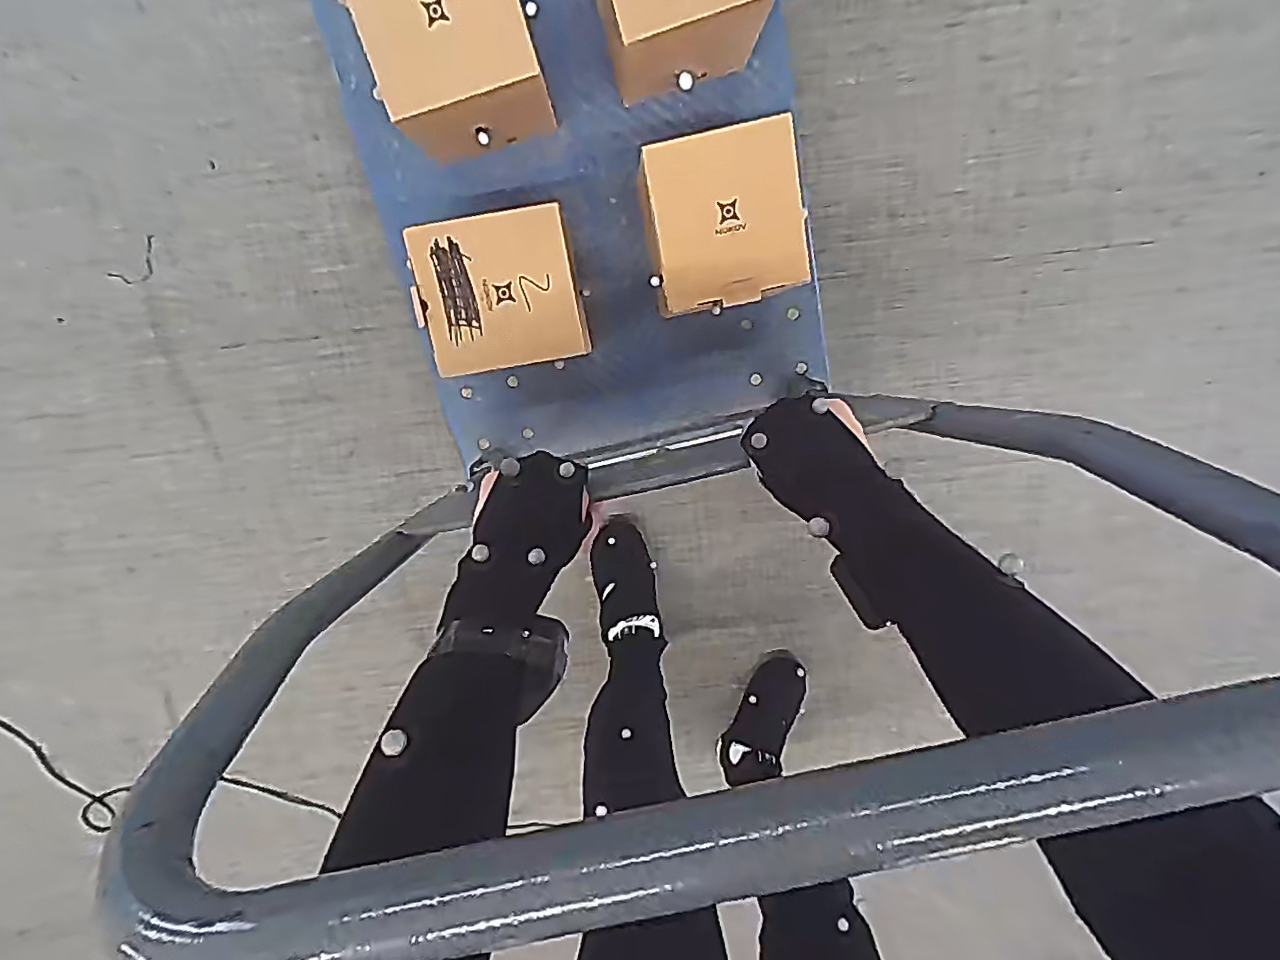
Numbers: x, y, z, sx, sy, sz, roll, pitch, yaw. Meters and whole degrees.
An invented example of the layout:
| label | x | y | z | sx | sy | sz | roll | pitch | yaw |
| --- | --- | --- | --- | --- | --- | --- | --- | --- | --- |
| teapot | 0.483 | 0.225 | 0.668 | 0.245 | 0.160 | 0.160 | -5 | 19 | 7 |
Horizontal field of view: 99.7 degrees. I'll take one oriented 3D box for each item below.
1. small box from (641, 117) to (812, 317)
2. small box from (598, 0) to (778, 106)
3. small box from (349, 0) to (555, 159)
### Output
| label | x | y | z | sx | sy | sz | roll | pitch | yaw |
| --- | --- | --- | --- | --- | --- | --- | --- | --- | --- |
| small box | 0.097 | -0.309 | 0.673 | 0.168 | 0.176 | 0.179 | -12 | 106 | 2 |
| small box | 0.038 | -0.563 | 0.600 | 0.168 | 0.176 | 0.179 | -16 | 106 | 4 |
| small box | -0.204 | -0.491 | 0.613 | 0.168 | 0.176 | 0.179 | -16 | 105 | 2 |
